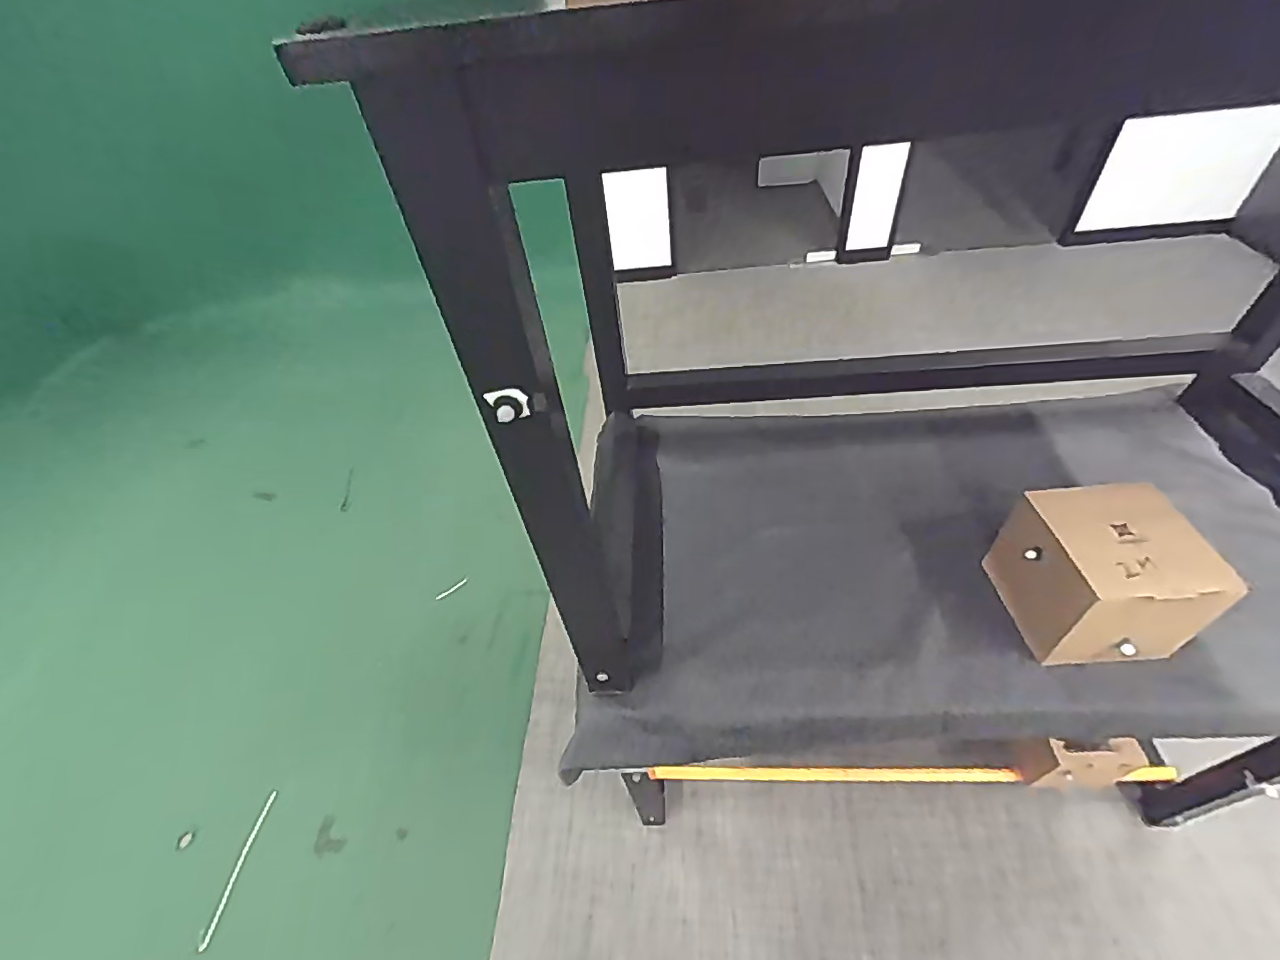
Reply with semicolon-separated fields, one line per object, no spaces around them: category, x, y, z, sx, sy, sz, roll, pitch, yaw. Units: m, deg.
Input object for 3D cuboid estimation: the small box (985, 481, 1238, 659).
small box;0.616;0.124;0.743;0.168;0.176;0.179;-5;45;4
